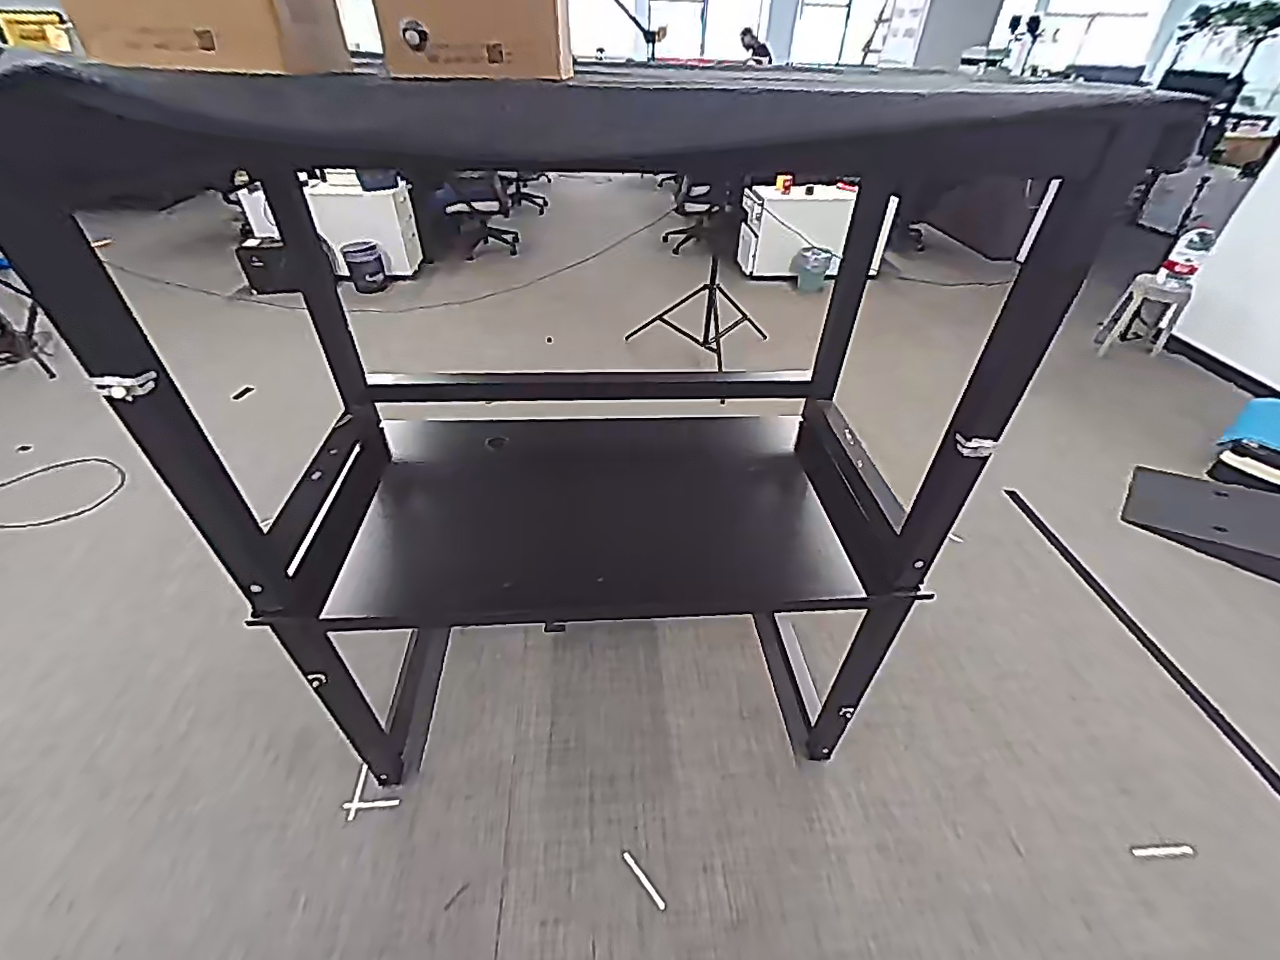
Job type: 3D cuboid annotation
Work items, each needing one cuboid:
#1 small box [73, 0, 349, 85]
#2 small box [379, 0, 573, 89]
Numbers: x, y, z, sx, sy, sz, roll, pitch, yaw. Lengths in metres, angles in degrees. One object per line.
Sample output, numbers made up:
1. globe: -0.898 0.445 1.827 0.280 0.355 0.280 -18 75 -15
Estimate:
1. small box: -0.395 -0.469 0.496 0.168 0.176 0.179 -1 37 -5
2. small box: -0.155 -0.493 0.533 0.168 0.176 0.179 0 37 -3
